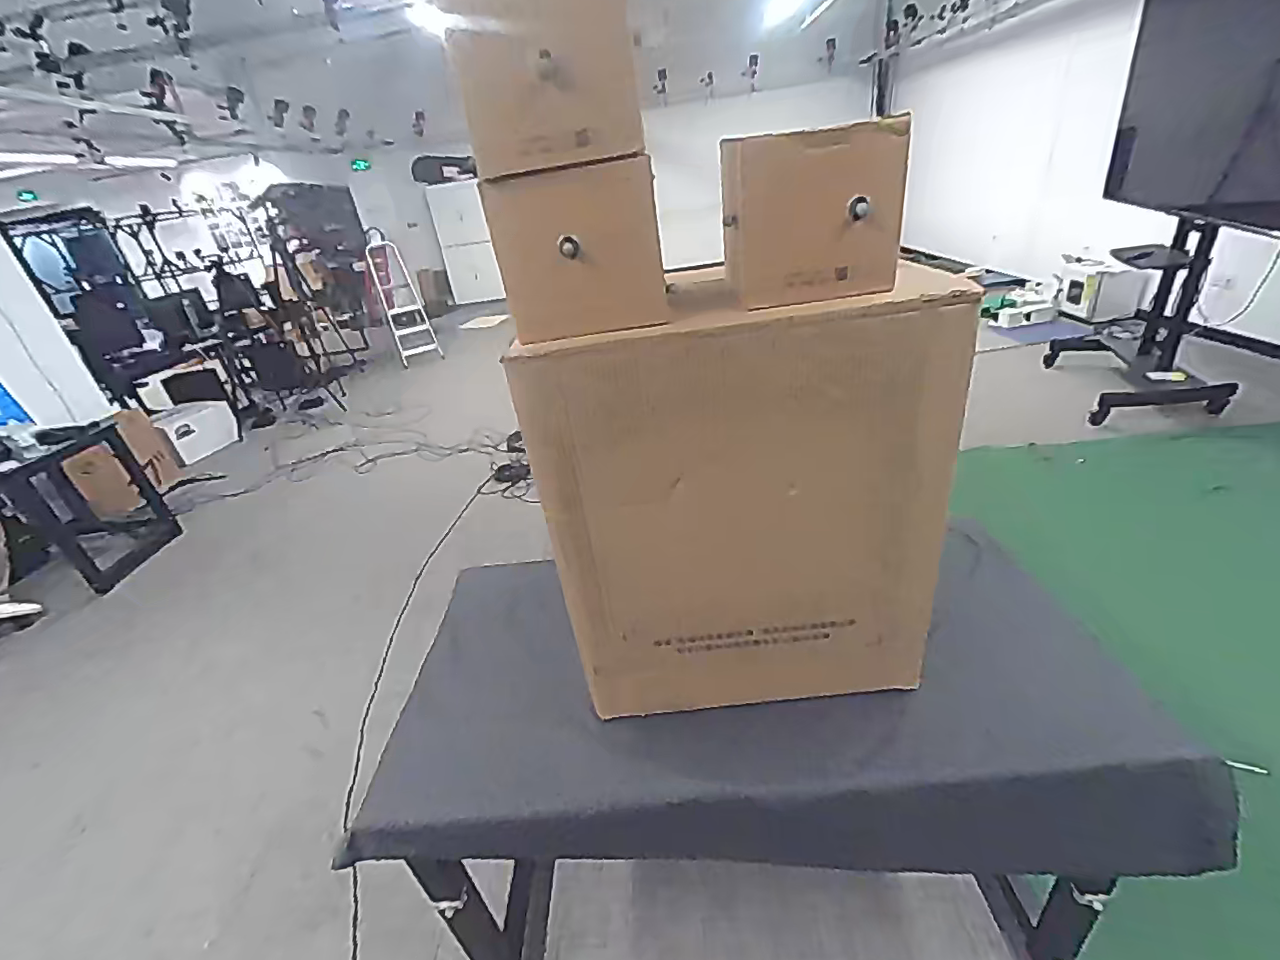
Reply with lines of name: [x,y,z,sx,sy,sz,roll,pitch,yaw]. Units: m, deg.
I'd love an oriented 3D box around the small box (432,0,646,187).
small box: [-0.089,-0.406,0.556,0.168,0.176,0.179,-9,32,1]

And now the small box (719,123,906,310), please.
small box: [0.188,-0.303,0.634,0.168,0.176,0.179,-5,30,3]

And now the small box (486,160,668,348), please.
small box: [-0.062,-0.268,0.638,0.179,0.176,0.168,-8,32,0]
